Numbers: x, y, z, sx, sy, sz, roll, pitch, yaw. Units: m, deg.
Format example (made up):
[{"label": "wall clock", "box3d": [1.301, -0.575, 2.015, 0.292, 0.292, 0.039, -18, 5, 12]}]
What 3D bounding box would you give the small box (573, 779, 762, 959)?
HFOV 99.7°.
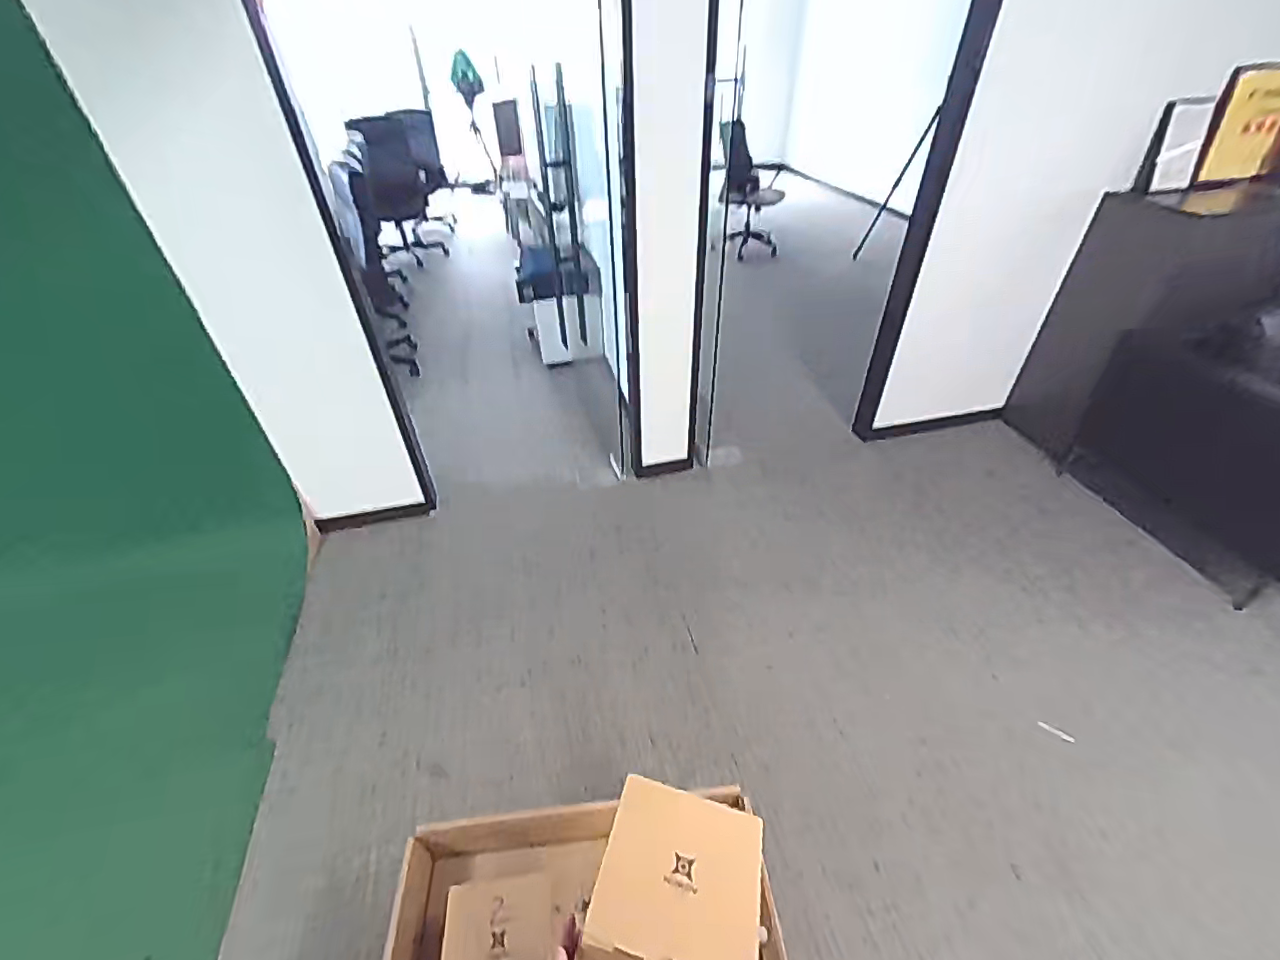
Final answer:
[{"label": "small box", "box3d": [0.027, 0.478, 0.588, 0.168, 0.176, 0.179, 16, 28, 6]}]
